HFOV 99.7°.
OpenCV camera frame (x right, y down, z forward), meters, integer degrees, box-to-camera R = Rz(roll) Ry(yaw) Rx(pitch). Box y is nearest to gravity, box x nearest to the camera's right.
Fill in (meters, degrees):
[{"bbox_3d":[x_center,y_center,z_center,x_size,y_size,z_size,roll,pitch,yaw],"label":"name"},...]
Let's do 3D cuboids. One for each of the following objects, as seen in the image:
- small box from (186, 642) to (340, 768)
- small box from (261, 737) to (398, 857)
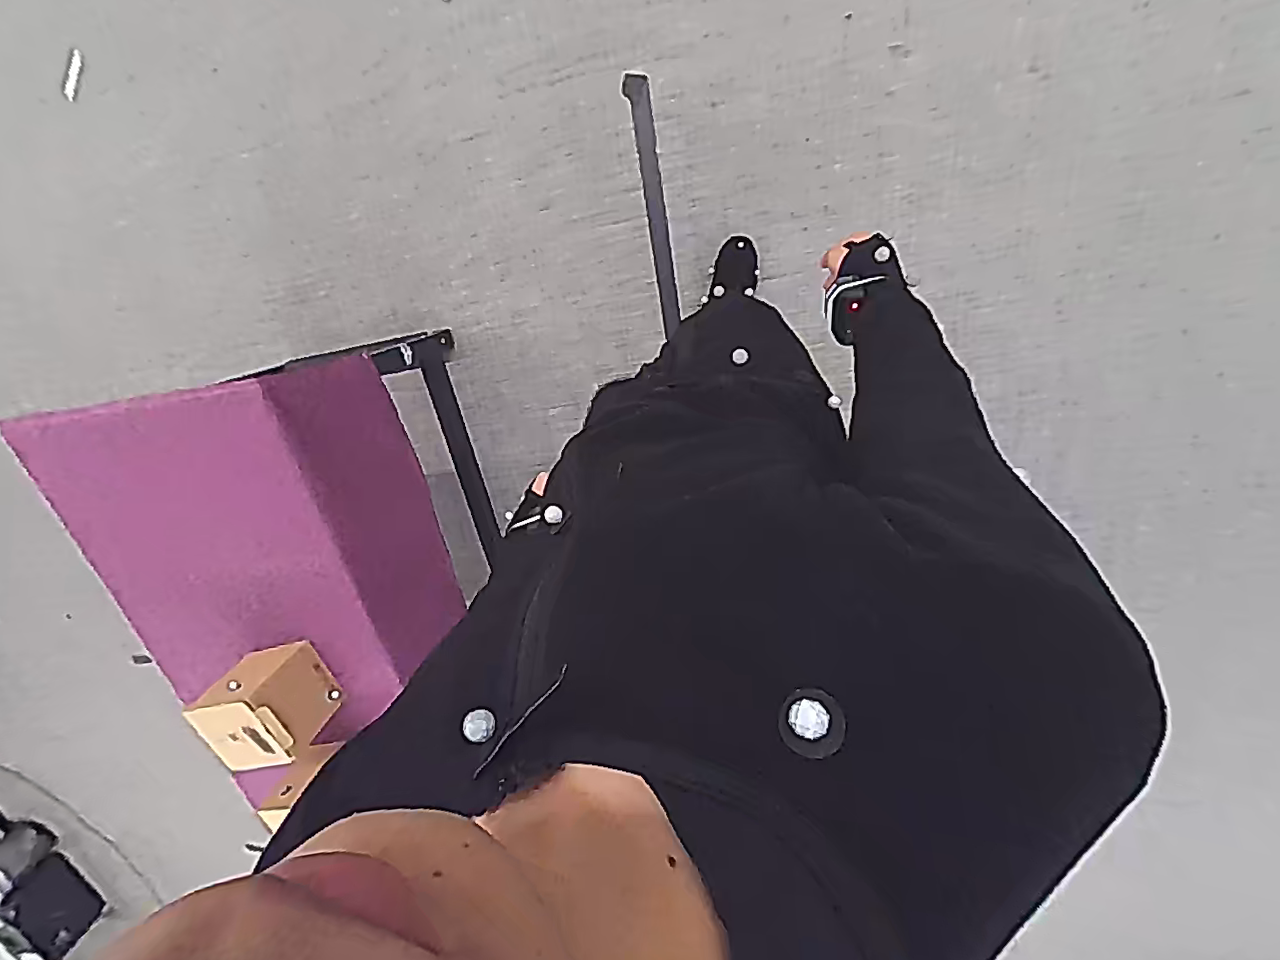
[{"bbox_3d":[-0.767,0.463,1.130,0.179,0.176,0.168,-16,110,16],"label":"small box"},{"bbox_3d":[-0.695,0.718,1.230,0.179,0.176,0.168,-15,111,14],"label":"small box"}]
